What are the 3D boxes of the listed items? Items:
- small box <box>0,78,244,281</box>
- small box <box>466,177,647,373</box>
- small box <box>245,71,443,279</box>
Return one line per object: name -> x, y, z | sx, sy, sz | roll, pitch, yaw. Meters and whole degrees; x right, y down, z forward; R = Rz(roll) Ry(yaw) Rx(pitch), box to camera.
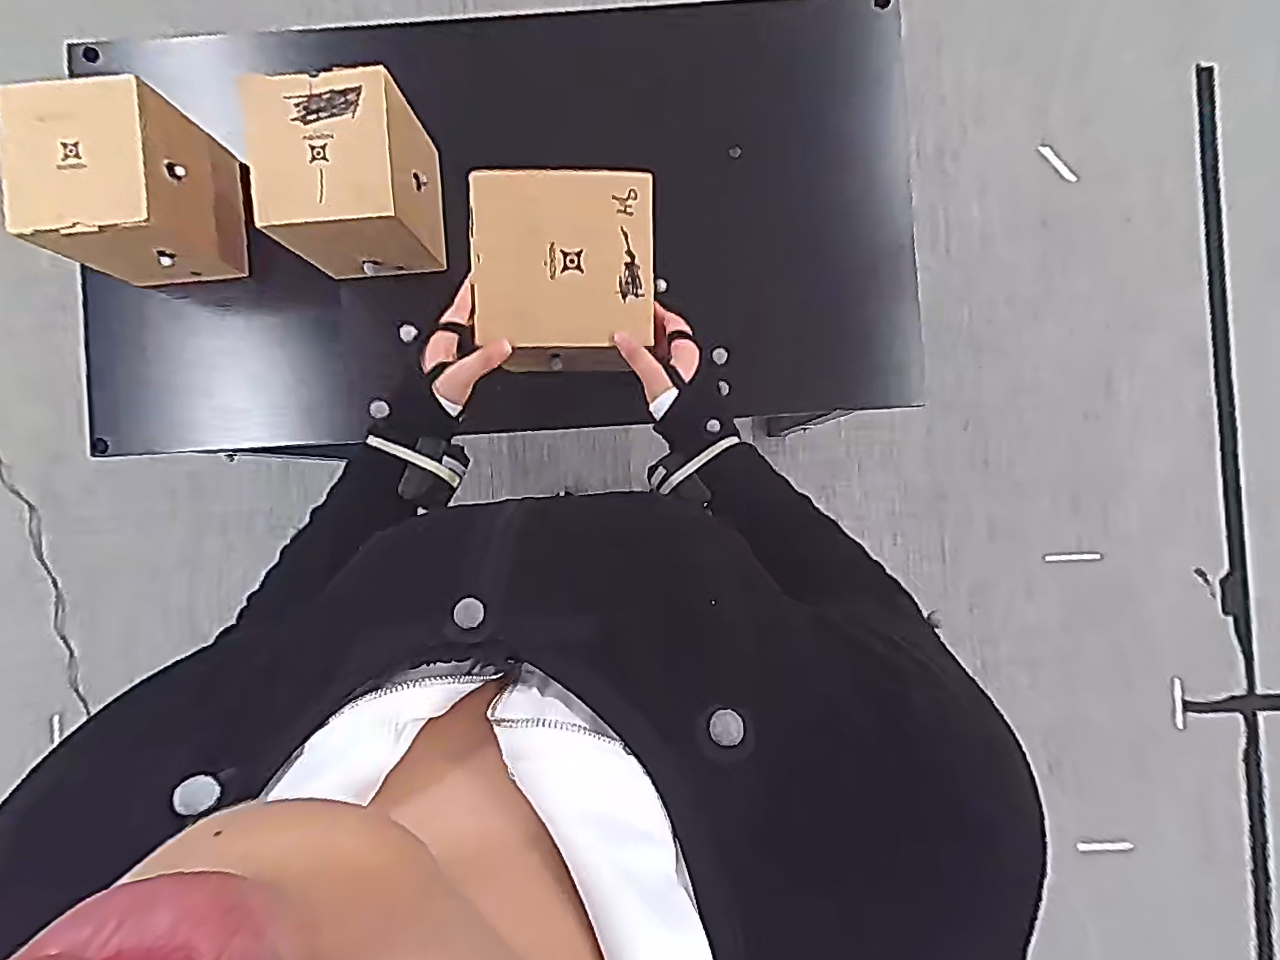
small box -> -0.658, -0.374, 0.707 | 0.168, 0.176, 0.179 | -5, 89, -1
small box -> -0.082, -0.214, 0.605 | 0.179, 0.176, 0.168 | -1, 93, -2
small box -> -0.371, -0.383, 0.705 | 0.168, 0.176, 0.179 | -4, 90, 0
